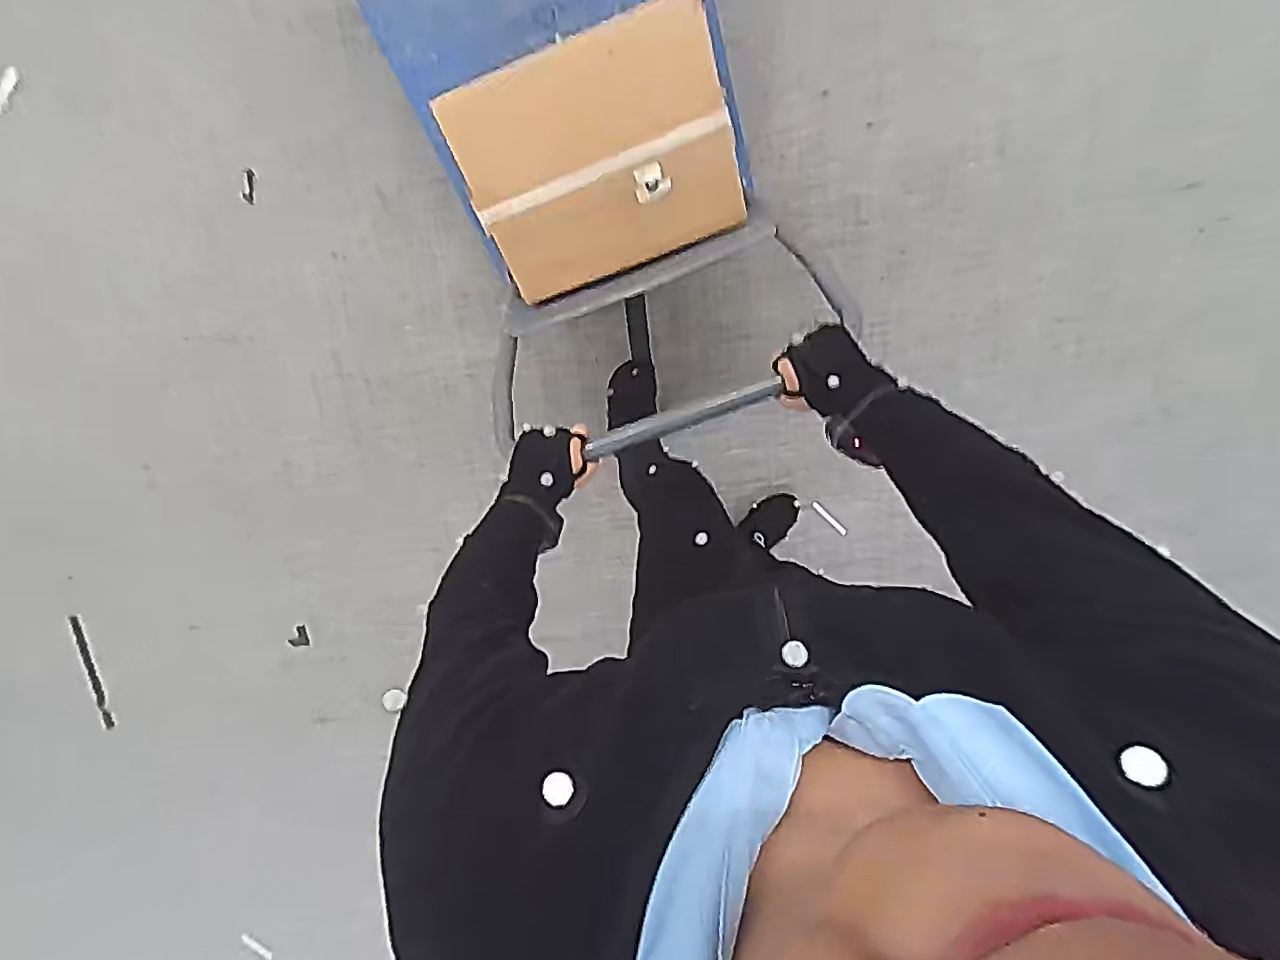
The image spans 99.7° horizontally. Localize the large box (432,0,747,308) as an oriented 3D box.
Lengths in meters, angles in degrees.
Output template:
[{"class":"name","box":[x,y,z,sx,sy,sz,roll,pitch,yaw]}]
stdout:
[{"class":"large box","box":[-0.077,-0.561,0.938,0.408,0.320,0.320,-20,127,7]}]
